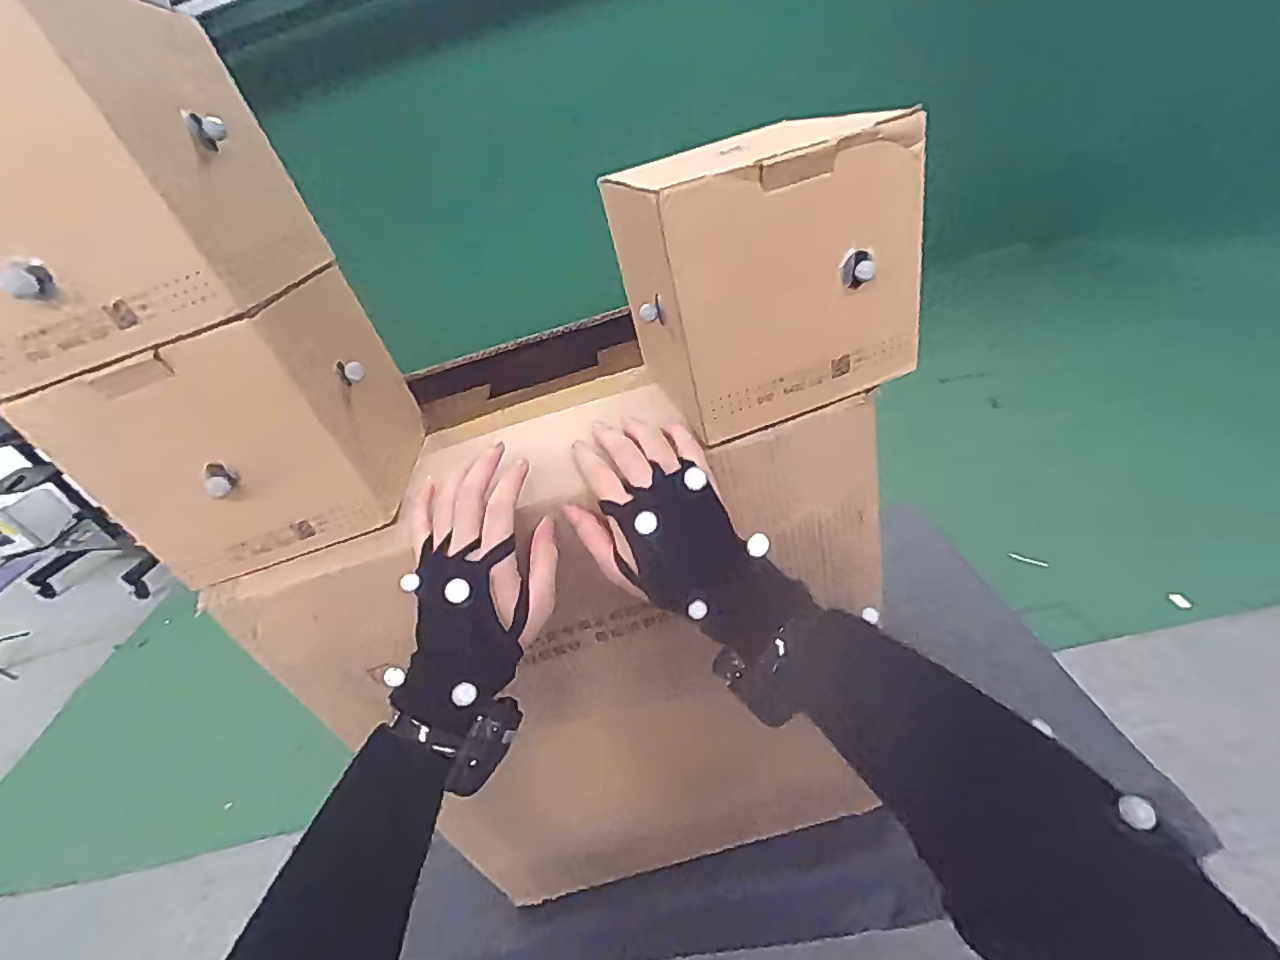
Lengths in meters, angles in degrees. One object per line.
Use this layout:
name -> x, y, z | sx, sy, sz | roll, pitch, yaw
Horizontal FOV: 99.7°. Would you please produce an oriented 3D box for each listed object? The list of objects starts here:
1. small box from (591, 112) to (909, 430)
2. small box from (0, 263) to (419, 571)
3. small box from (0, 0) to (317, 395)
small box -> 0.076, -0.155, 0.412 | 0.168, 0.176, 0.179 | -19, 33, -5
small box -> -0.303, -0.048, 0.438 | 0.168, 0.176, 0.179 | -19, 34, 0
small box -> -0.348, -0.178, 0.346 | 0.168, 0.176, 0.179 | -19, 34, 2
